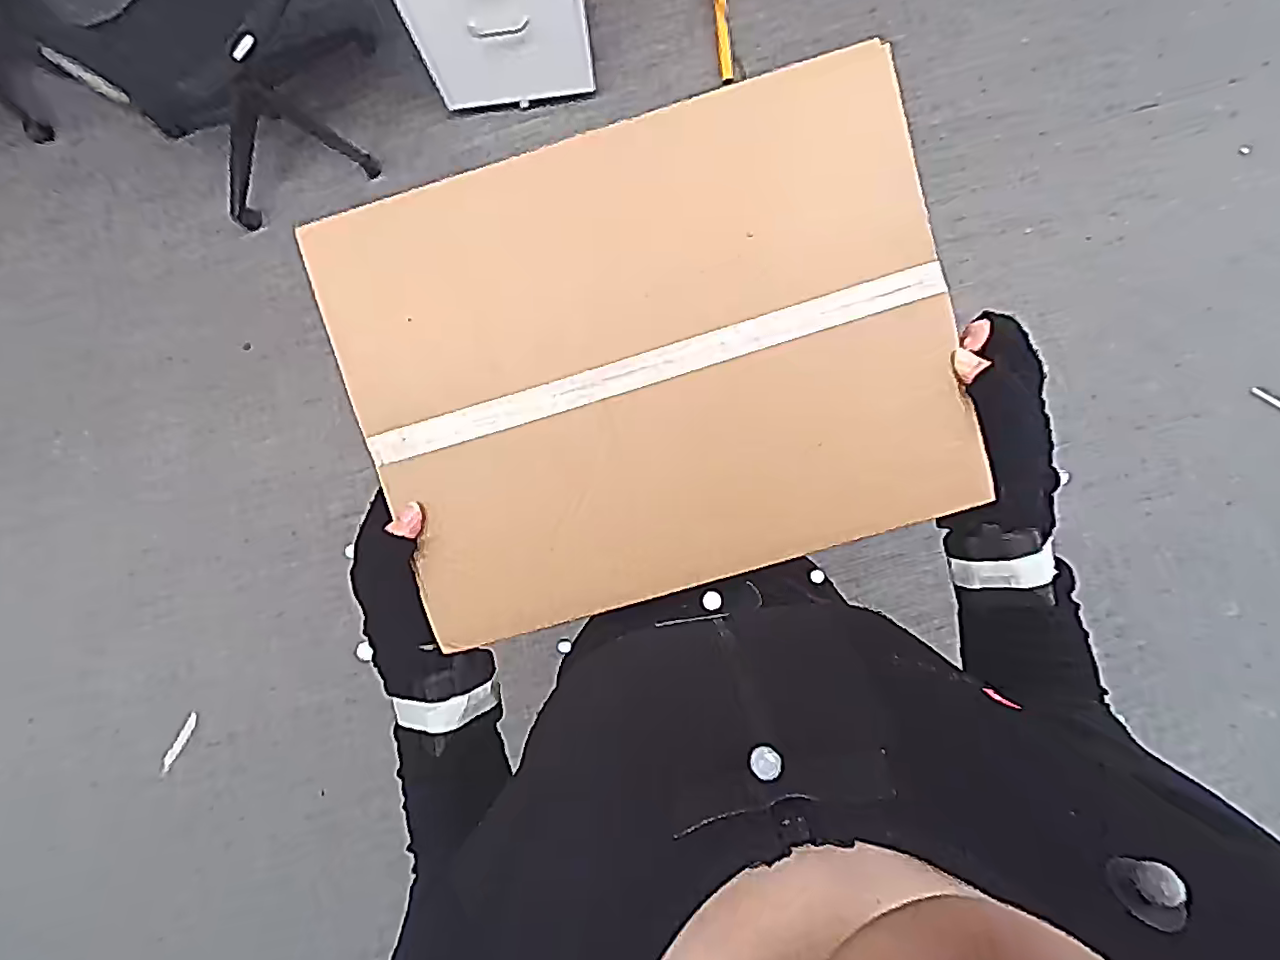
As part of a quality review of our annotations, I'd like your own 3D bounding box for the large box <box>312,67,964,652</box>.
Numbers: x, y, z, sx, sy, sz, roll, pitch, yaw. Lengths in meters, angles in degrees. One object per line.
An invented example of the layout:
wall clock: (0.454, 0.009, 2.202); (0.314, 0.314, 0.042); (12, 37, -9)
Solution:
large box: (0.006, -0.089, 0.530); (0.408, 0.320, 0.320); (-17, 95, 3)
